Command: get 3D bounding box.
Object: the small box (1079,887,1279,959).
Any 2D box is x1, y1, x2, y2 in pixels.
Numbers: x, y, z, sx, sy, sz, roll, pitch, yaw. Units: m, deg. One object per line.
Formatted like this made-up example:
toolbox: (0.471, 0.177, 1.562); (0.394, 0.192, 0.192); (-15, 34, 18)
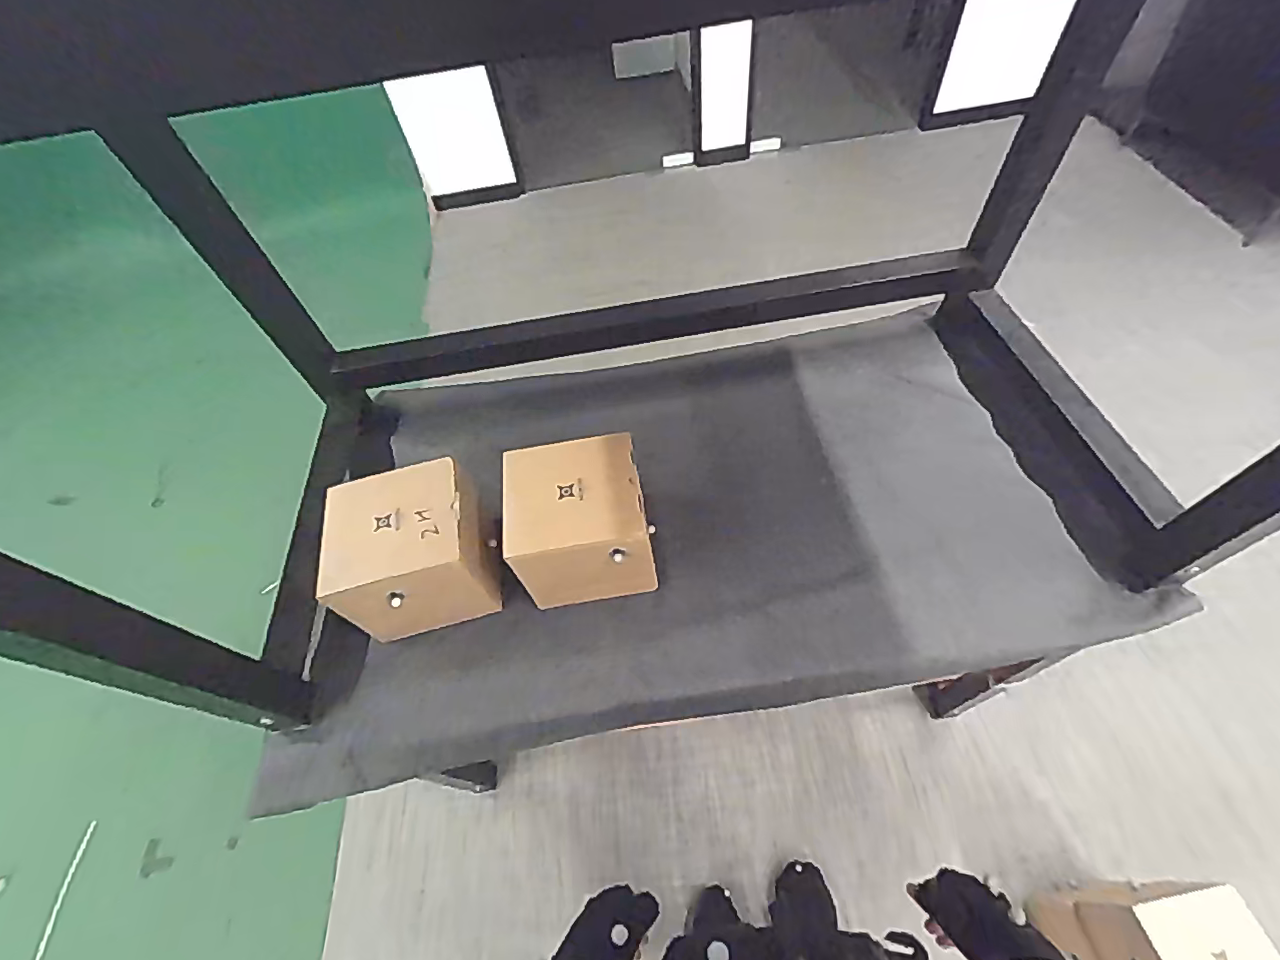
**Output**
small box: (0.853, 0.759, 0.842); (0.168, 0.176, 0.179); (-11, 54, -1)
